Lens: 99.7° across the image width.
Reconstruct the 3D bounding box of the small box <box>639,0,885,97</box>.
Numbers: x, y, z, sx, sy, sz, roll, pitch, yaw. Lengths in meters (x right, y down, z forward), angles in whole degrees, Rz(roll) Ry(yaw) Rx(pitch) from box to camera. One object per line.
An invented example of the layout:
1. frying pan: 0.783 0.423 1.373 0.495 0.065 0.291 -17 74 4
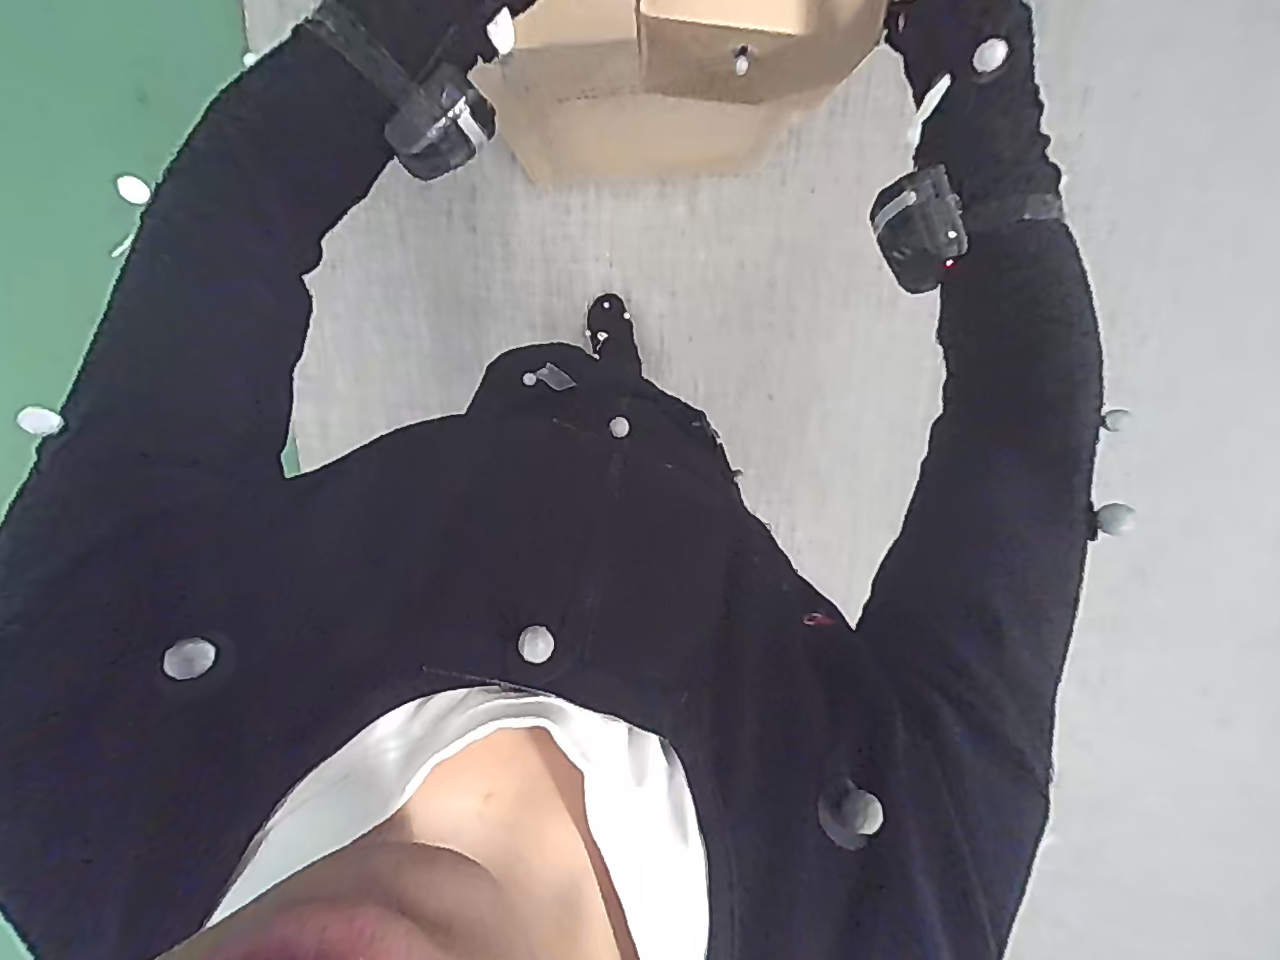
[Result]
1. small box: 0.092 -0.430 0.428 0.179 0.176 0.168 5 110 -2
